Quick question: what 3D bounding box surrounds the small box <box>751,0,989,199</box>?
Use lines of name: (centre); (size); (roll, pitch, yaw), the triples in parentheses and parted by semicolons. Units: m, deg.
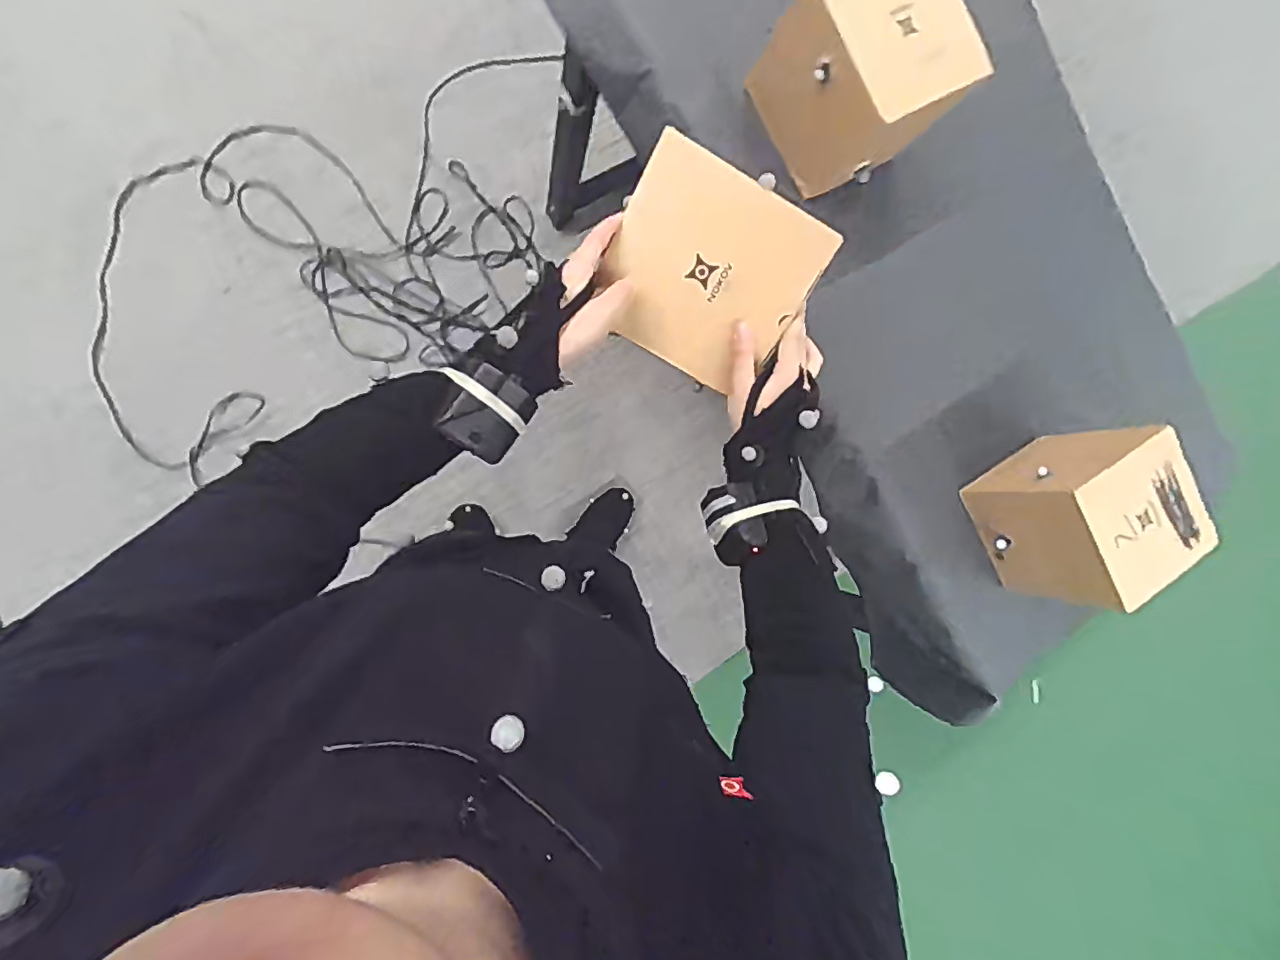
small box: (0.264, -0.487, 0.657); (0.168, 0.176, 0.179); (-31, 97, -12)

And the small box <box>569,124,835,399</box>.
small box: (0.053, -0.205, 0.539); (0.179, 0.176, 0.168); (28, 109, -7)
